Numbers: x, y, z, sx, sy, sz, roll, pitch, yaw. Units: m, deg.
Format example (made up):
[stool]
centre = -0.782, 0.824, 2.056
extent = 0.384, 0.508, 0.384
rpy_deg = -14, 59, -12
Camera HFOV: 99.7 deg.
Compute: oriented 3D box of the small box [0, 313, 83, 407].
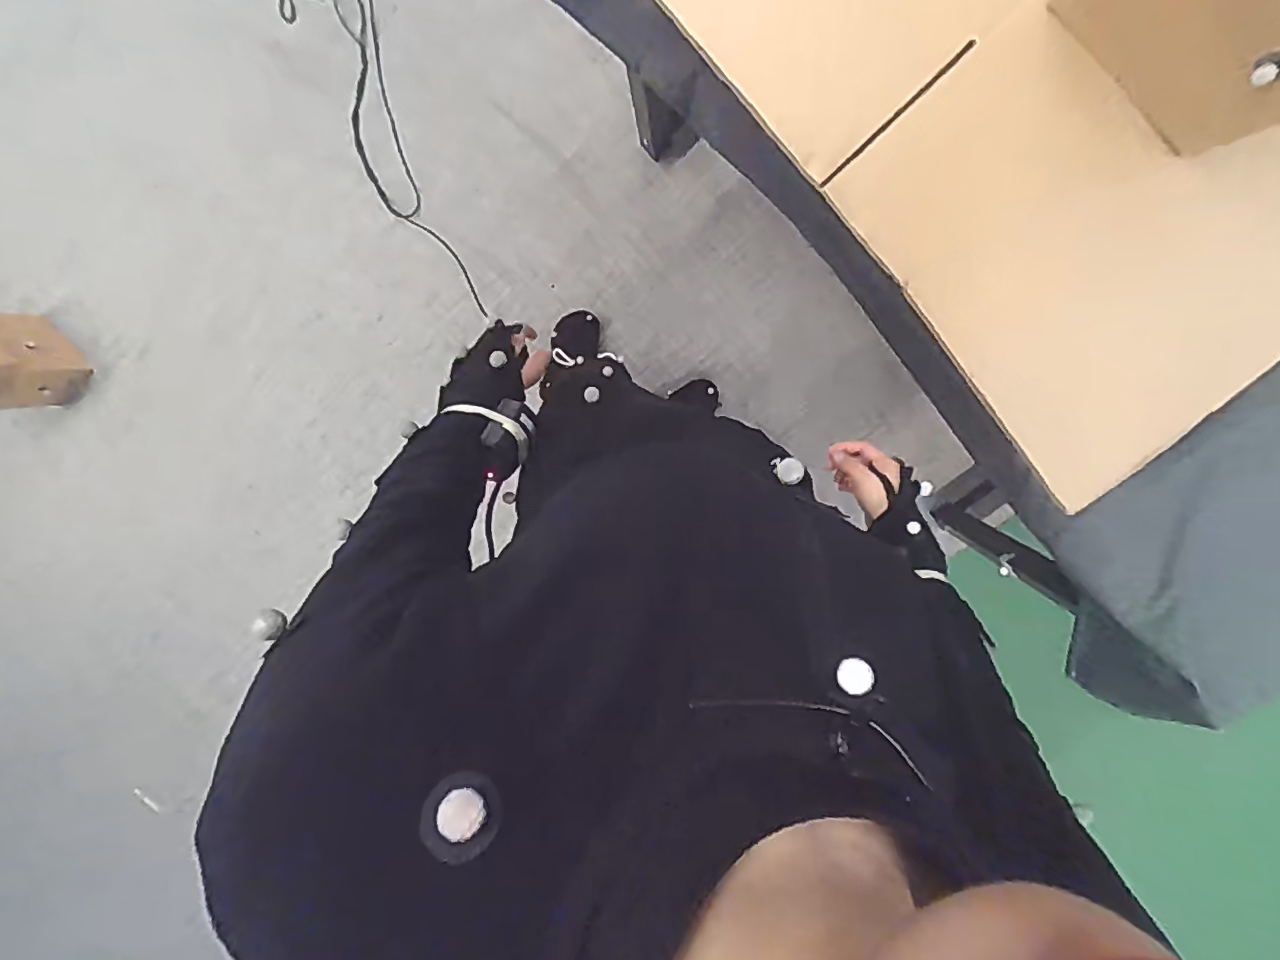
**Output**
[small box]
centre = -1.565, -0.299, 1.338
extent = 0.168, 0.176, 0.179
rpy_deg = -36, 99, 11
